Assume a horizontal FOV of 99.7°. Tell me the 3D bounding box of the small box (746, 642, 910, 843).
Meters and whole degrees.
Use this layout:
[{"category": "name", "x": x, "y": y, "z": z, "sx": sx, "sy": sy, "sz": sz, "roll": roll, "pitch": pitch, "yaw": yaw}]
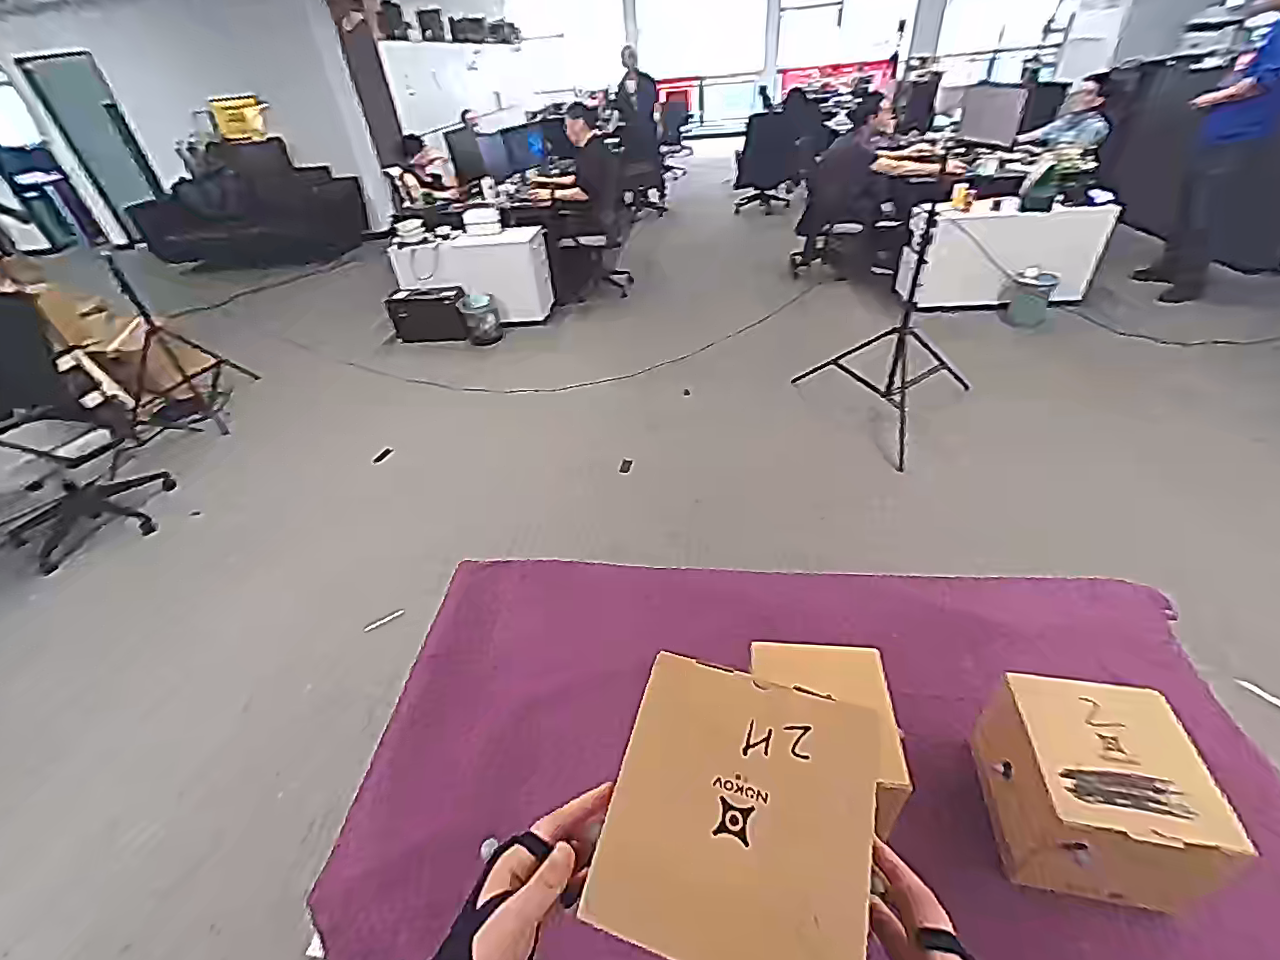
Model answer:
[{"category": "small box", "x": 0.227, "y": 0.339, "z": 0.708, "sx": 0.168, "sy": 0.176, "sz": 0.179, "roll": 1, "pitch": 38, "yaw": 8}]
